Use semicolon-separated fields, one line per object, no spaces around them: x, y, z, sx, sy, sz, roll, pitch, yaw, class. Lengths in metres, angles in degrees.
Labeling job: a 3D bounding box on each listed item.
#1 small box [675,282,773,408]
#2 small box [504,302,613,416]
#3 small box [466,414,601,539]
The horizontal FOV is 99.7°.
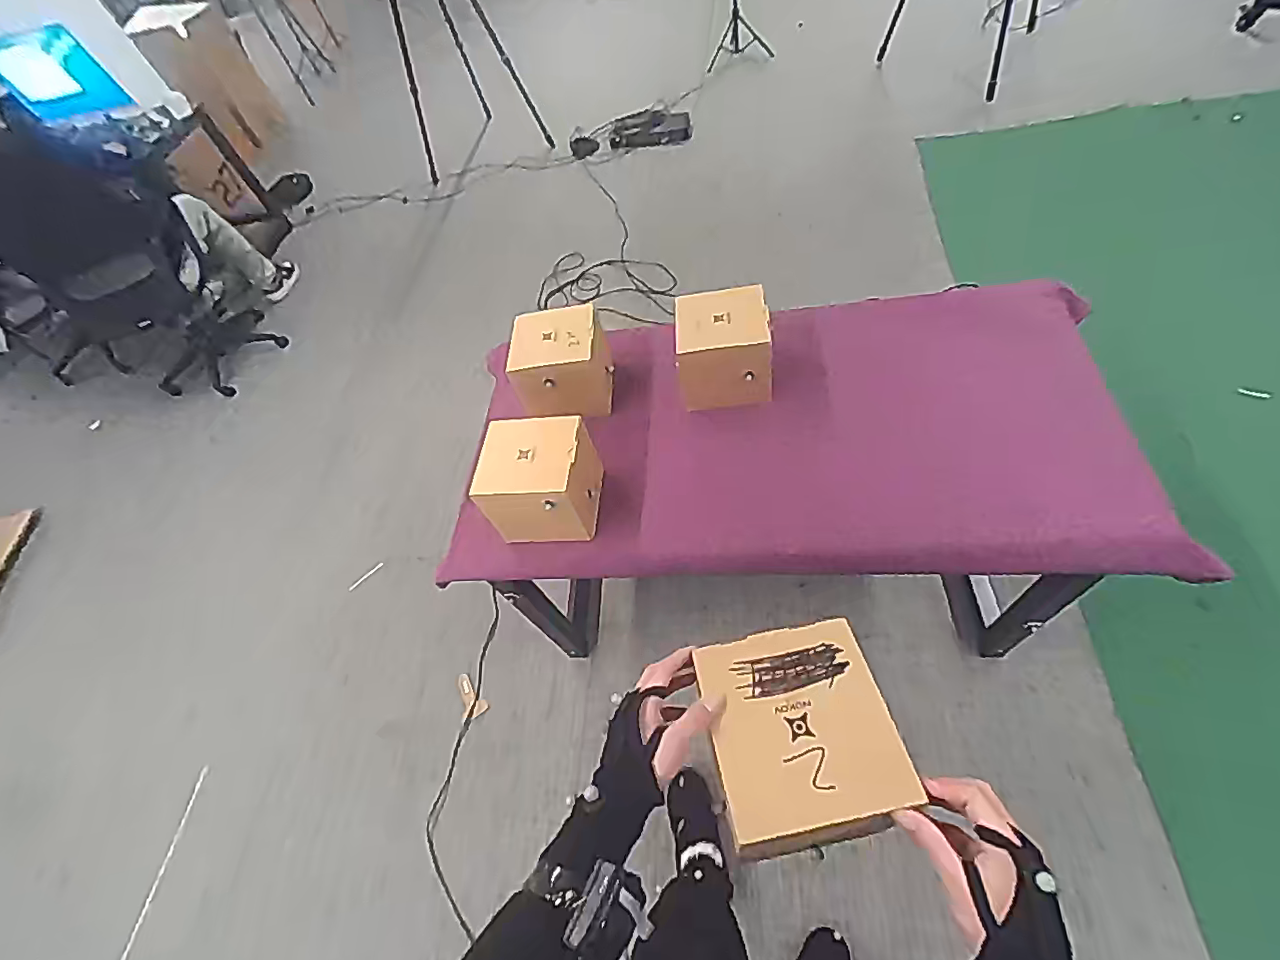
0.168;-0.263;1.079;0.179;0.176;0.168;-5;56;11;small box
-0.163;-0.245;1.142;0.179;0.176;0.168;-6;57;9;small box
-0.183;-0.001;0.986;0.179;0.176;0.168;-2;55;11;small box
